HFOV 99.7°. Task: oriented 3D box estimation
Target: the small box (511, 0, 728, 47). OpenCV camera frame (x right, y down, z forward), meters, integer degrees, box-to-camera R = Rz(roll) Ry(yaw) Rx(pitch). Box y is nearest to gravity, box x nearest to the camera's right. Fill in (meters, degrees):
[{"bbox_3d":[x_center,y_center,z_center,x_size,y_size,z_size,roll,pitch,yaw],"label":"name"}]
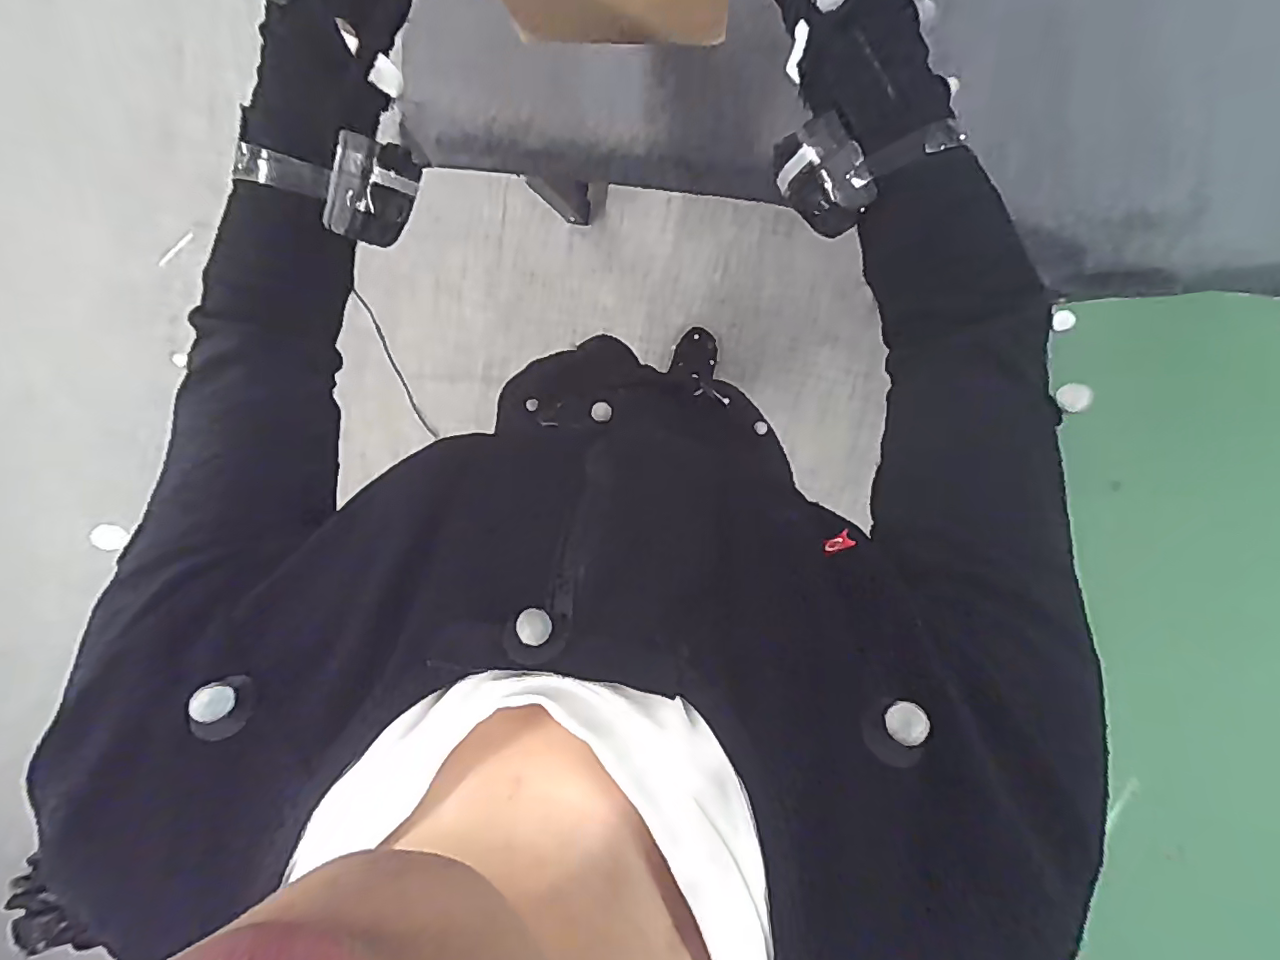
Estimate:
[{"bbox_3d":[-0.018,-0.438,0.376,0.179,0.176,0.168,3,104,4],"label":"small box"}]
